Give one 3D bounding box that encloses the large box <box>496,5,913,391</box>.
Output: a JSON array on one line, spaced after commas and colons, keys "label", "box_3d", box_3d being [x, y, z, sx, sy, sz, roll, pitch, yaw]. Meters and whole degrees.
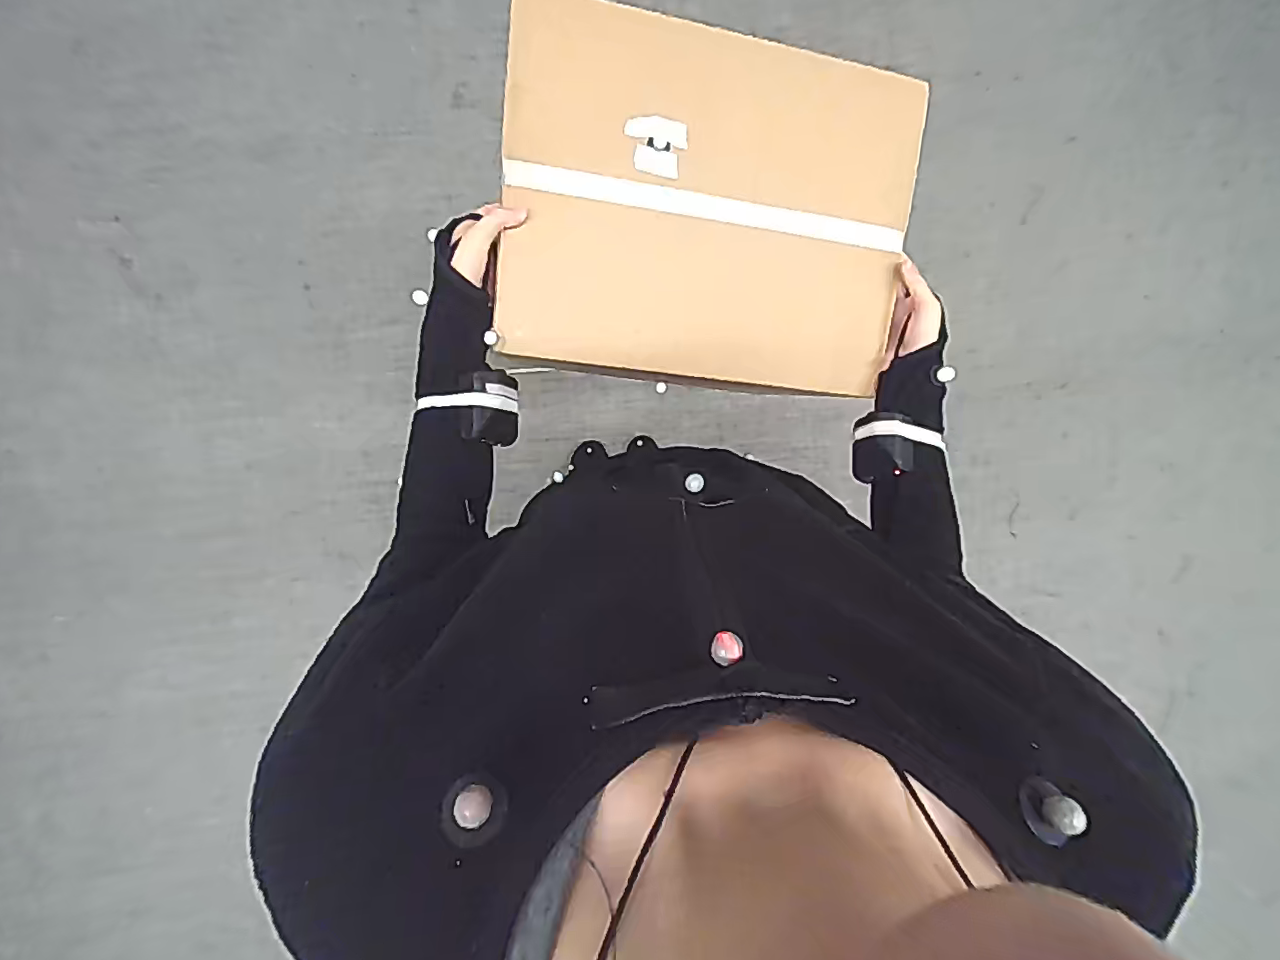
[{"label": "large box", "box_3d": [0.047, -0.286, 0.680, 0.408, 0.320, 0.320, 4, 98, -10]}]
